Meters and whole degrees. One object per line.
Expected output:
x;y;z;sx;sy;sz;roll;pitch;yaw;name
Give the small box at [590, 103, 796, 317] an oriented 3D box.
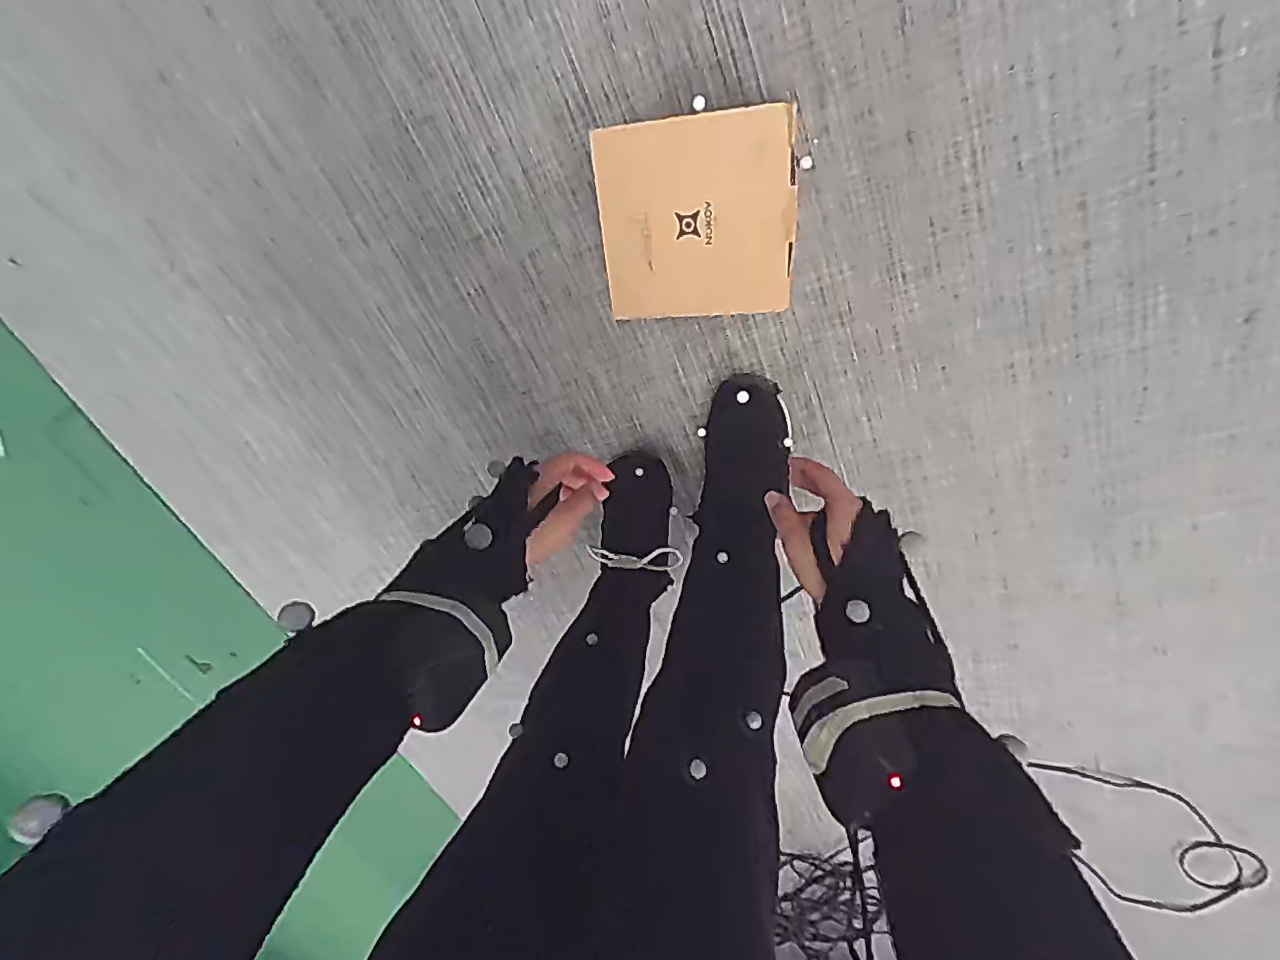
0.066;-0.274;0.554;0.179;0.176;0.168;2;121;16;small box
